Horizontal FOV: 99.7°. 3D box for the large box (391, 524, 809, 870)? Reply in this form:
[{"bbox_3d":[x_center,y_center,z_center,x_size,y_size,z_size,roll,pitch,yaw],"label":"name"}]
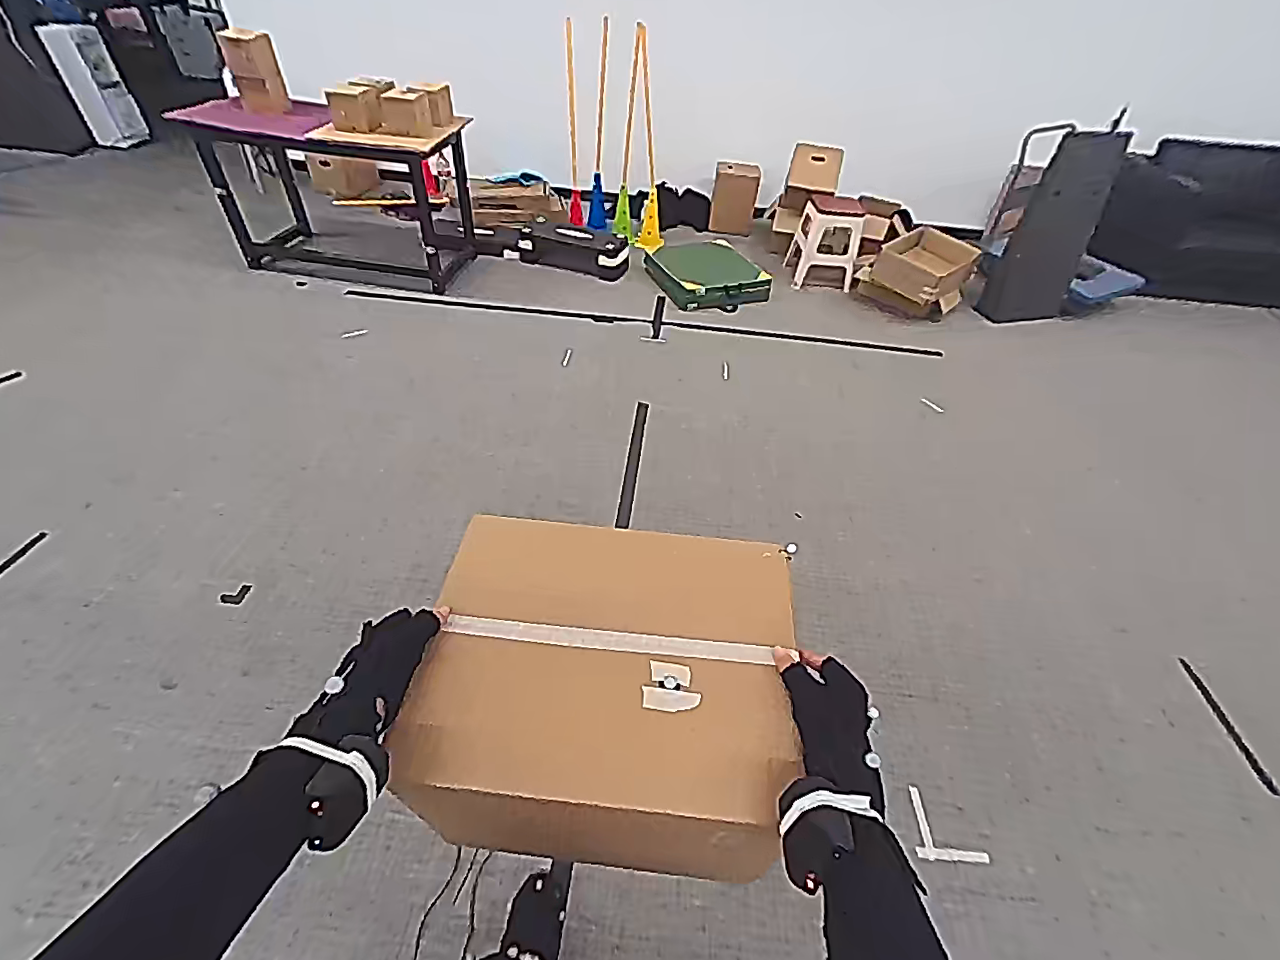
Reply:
[{"bbox_3d":[-0.036,0.286,0.712,0.408,0.320,0.320,5,47,2],"label":"large box"}]
